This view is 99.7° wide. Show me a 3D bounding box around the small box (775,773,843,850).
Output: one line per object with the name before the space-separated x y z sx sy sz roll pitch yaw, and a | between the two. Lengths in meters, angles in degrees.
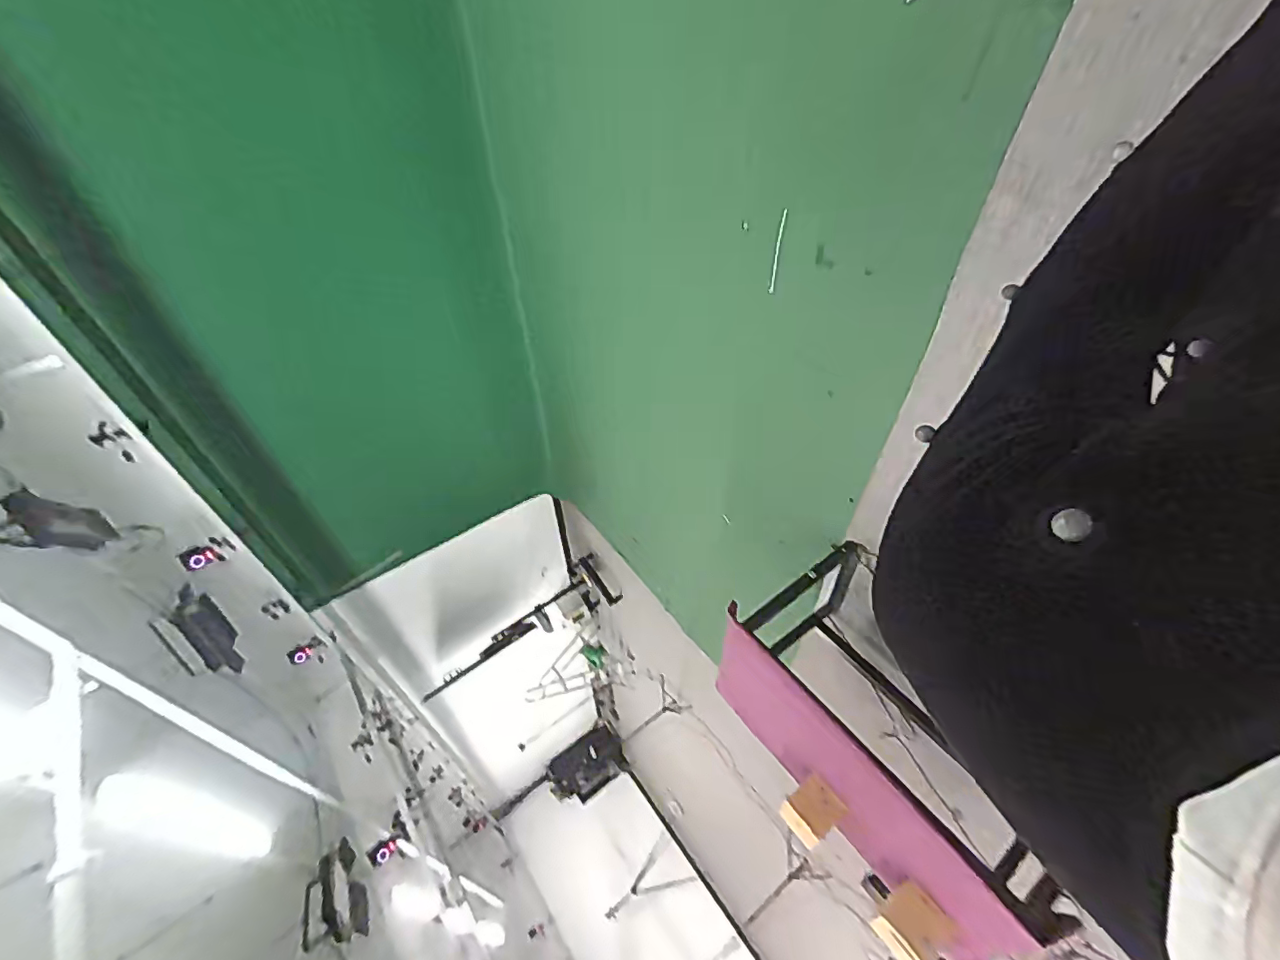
small box | 0.647 1.264 2.067 0.168 0.176 0.179 43 149 35
